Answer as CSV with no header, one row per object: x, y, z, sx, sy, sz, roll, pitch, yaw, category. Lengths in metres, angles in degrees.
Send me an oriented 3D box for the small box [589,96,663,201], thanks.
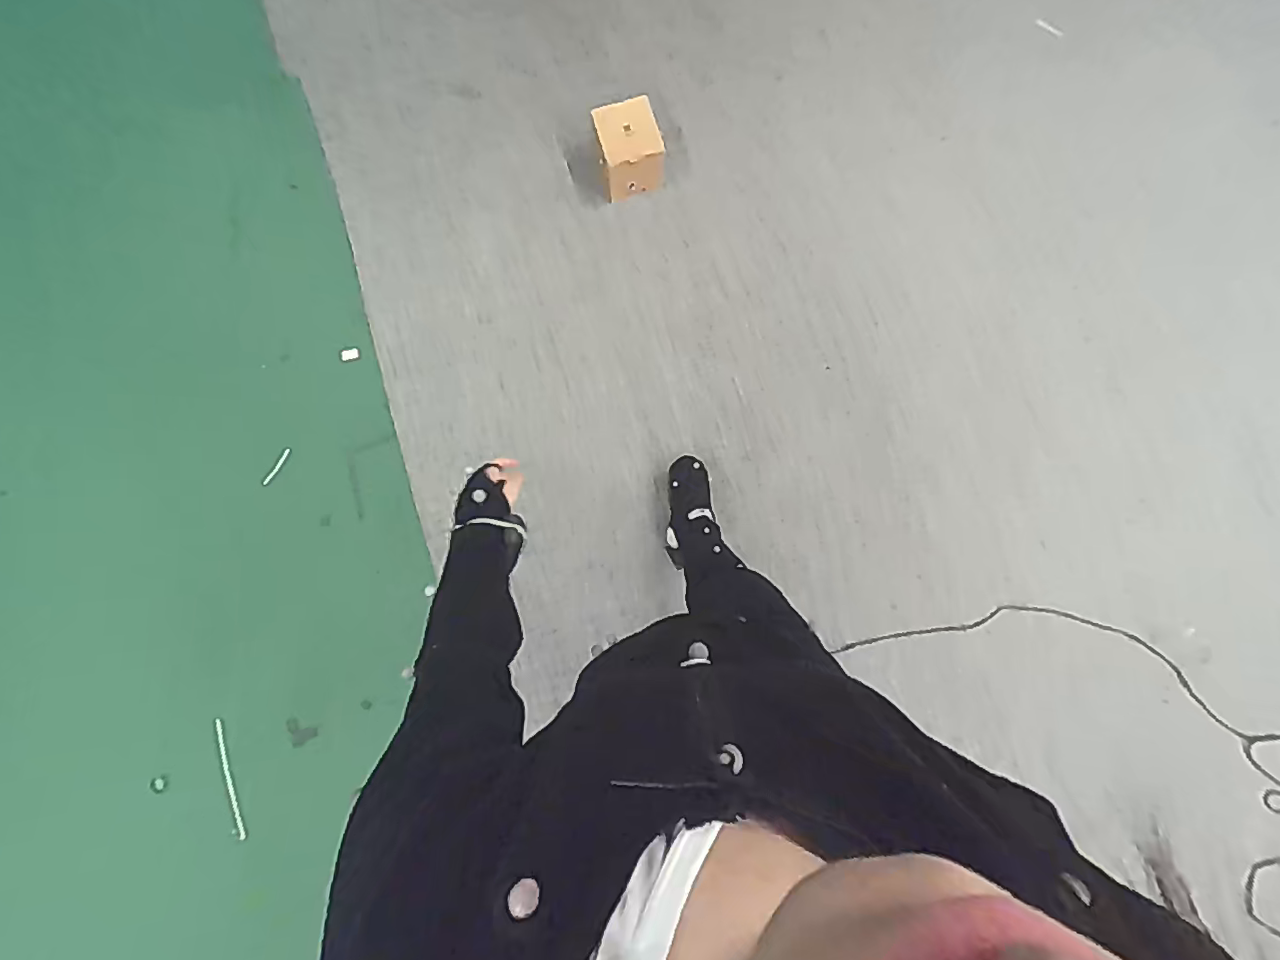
-0.043,-0.946,1.554,0.168,0.176,0.179,-17,85,-4,small box
